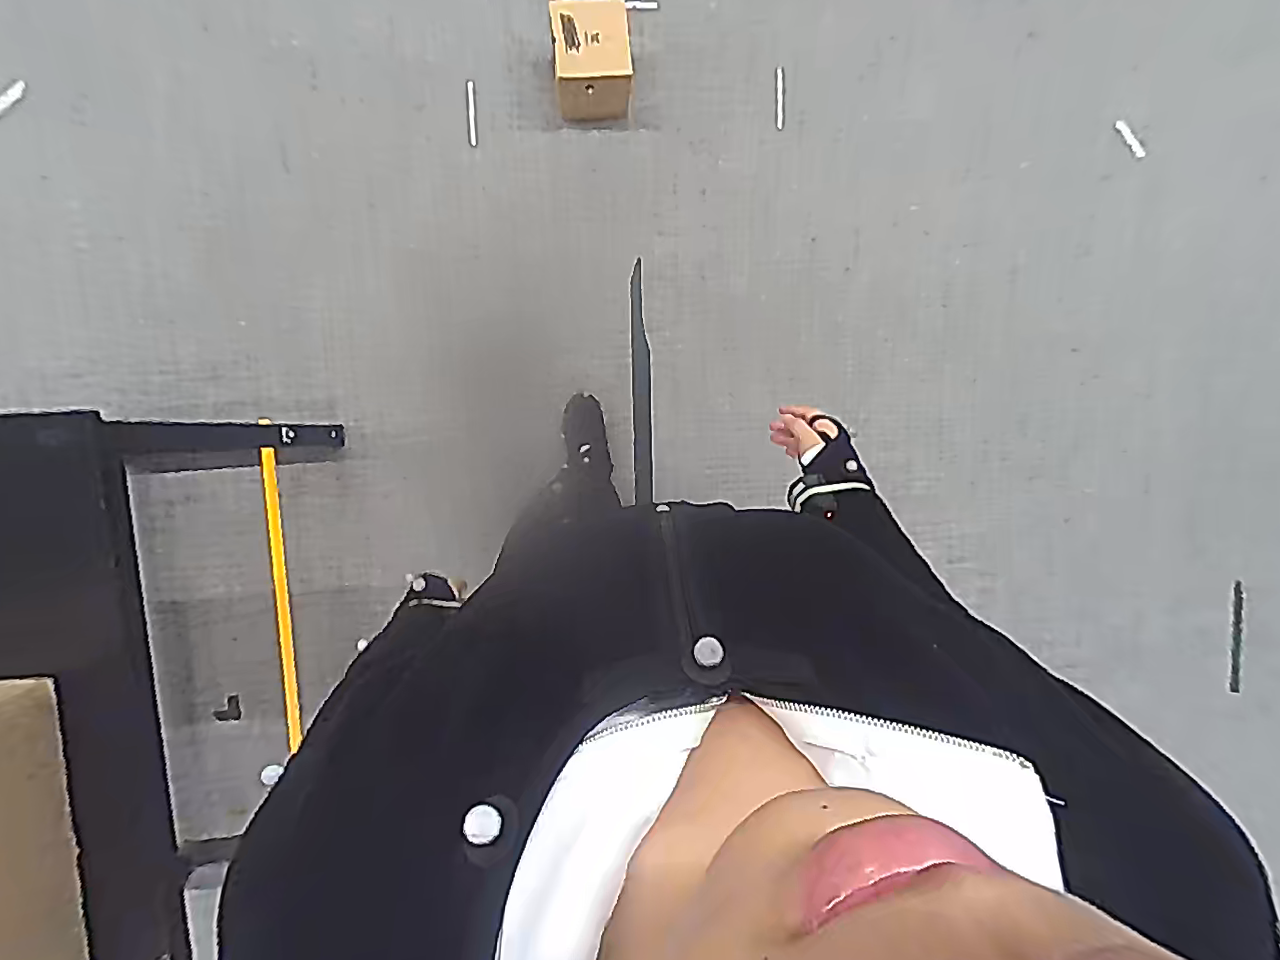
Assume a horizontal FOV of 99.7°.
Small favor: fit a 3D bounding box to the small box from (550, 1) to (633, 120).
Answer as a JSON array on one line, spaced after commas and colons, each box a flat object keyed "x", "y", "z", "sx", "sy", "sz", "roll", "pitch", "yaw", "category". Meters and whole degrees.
[{"x": -0.114, "y": -0.996, "z": 1.299, "sx": 0.179, "sy": 0.176, "sz": 0.168, "roll": -7, "pitch": 96, "yaw": -5, "category": "small box"}]
